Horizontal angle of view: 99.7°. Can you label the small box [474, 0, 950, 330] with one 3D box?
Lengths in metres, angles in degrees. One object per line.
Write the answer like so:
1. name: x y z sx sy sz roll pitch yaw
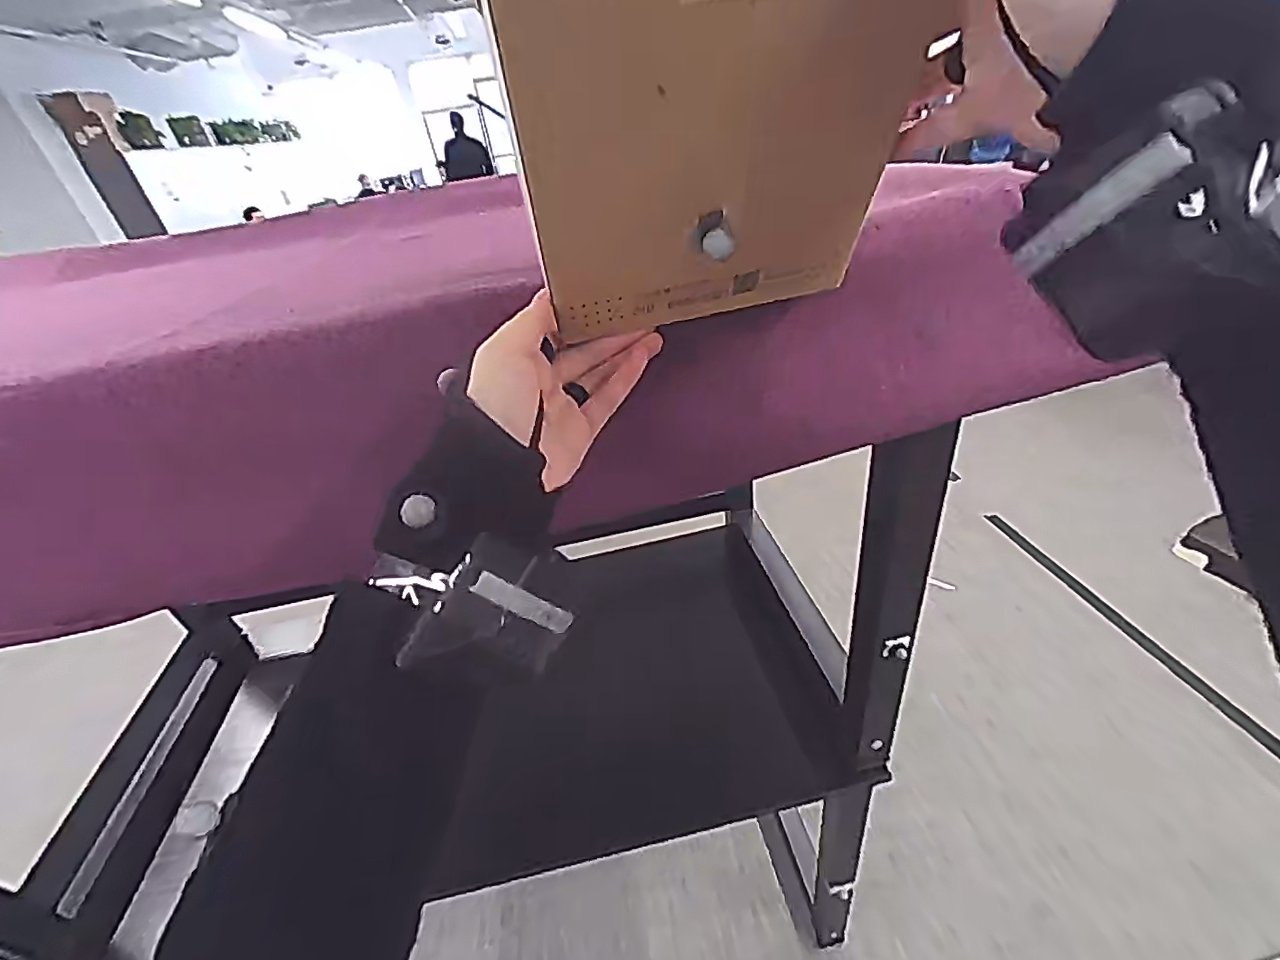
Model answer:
1. small box: 0.011 -0.204 0.263 0.168 0.176 0.179 -14 64 -7
